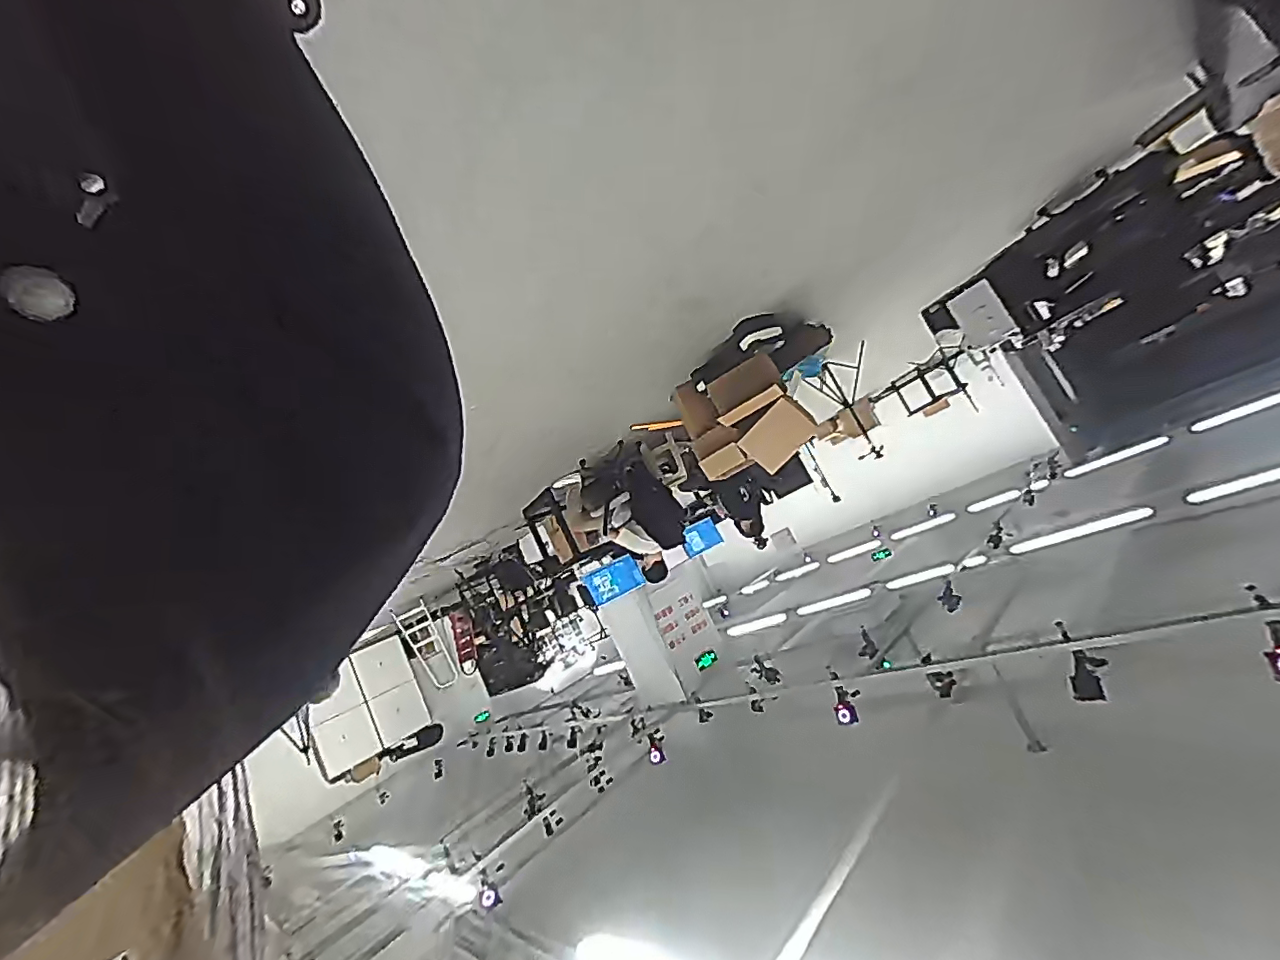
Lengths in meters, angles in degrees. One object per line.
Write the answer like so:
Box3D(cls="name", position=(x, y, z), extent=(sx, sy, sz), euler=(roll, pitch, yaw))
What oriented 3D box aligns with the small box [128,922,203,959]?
Box3D(cls="small box", position=(-1.437, 1.482, 1.626), extent=(0.168, 0.176, 0.179), euler=(-20, 166, -42))
